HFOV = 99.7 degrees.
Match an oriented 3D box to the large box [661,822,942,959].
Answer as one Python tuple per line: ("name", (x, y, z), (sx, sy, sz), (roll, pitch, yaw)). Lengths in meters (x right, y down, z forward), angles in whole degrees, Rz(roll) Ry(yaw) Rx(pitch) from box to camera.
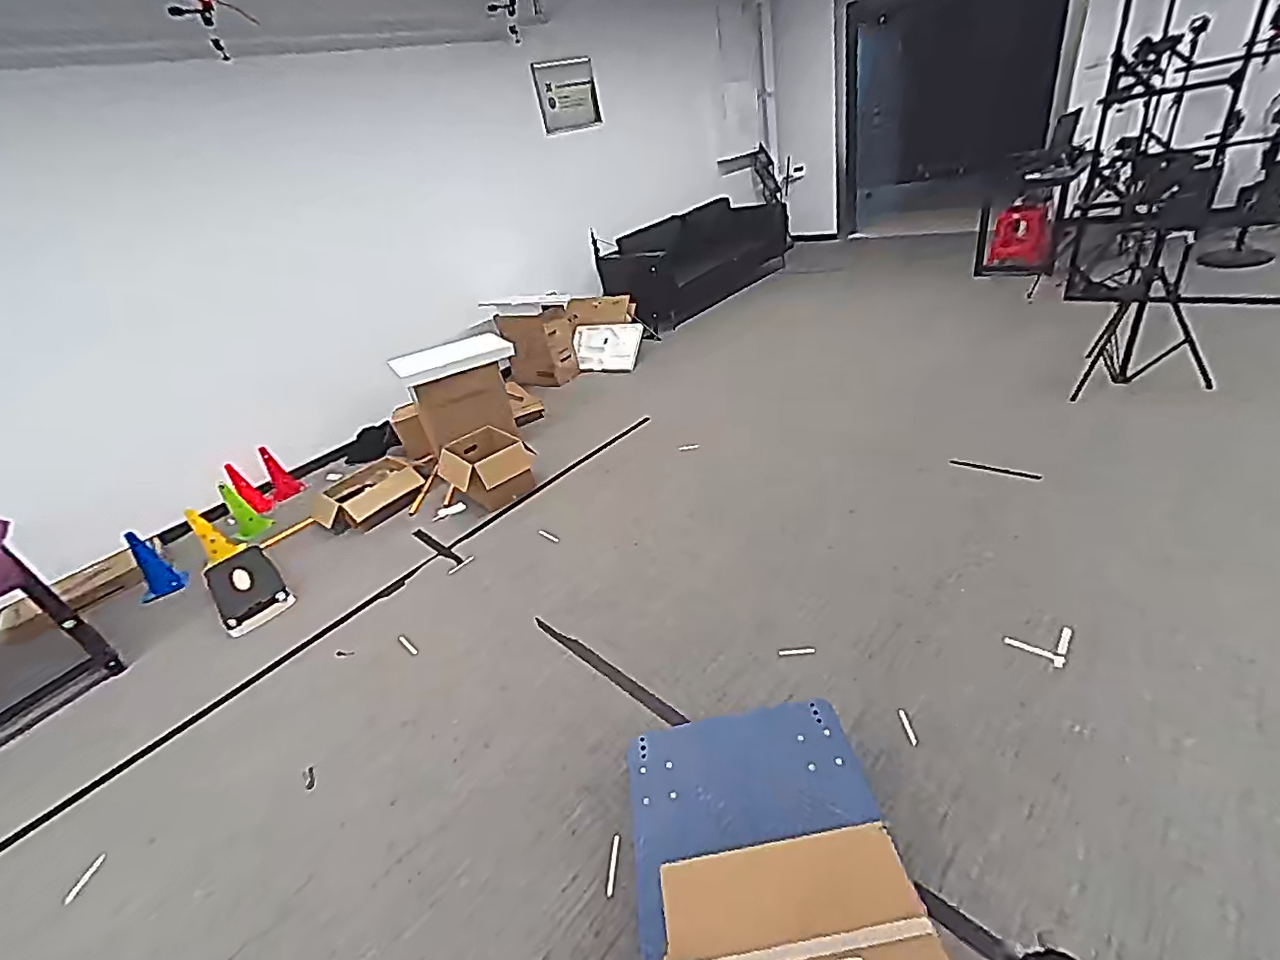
("large box", (0.269, 0.850, 0.903), (0.408, 0.320, 0.320), (-11, 31, 0))
